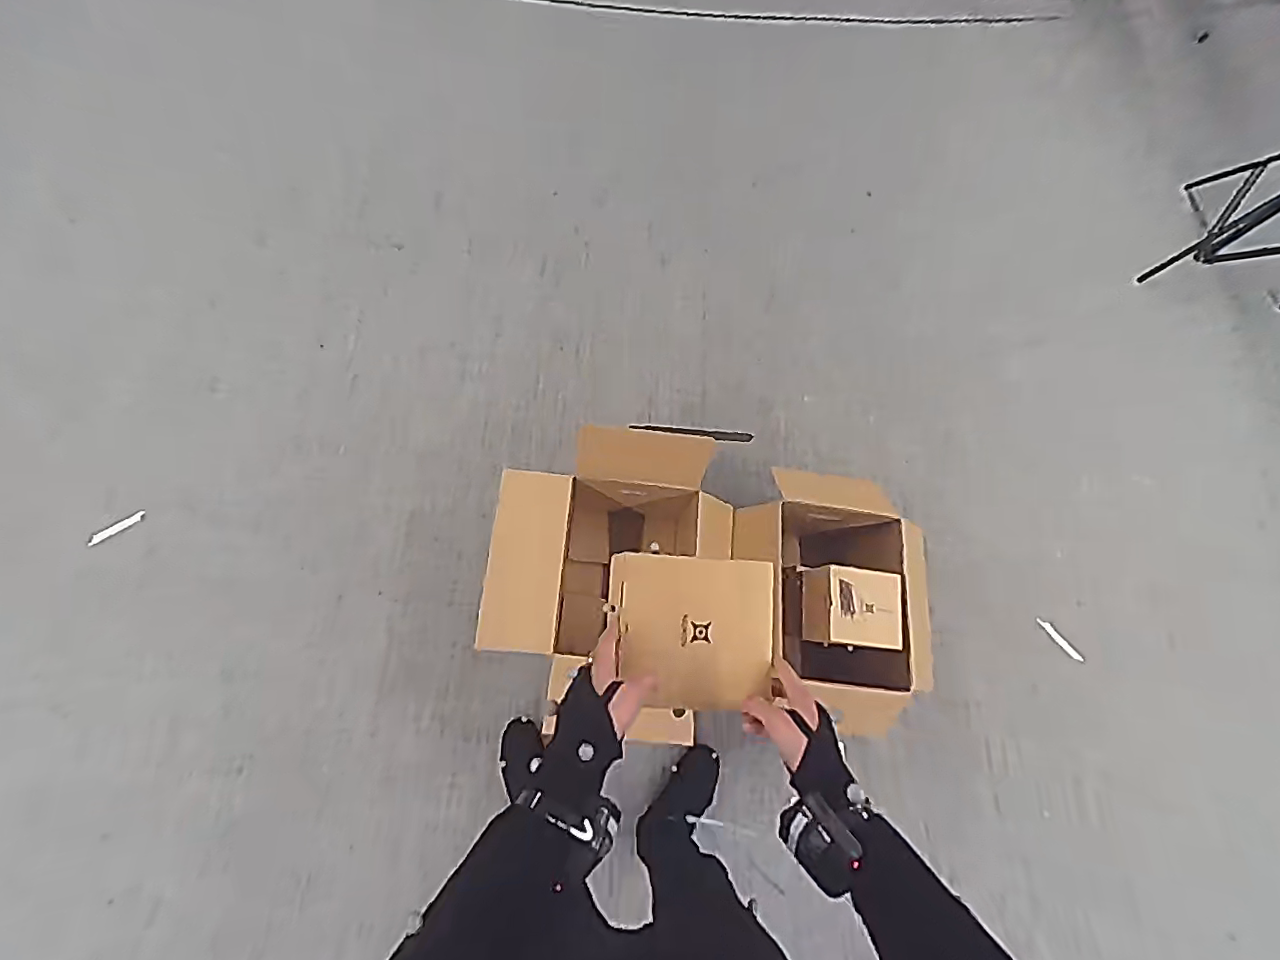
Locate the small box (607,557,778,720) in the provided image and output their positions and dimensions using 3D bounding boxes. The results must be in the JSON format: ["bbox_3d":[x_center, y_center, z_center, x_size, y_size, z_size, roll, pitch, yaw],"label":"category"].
[{"bbox_3d":[0.056,0.183,0.665,0.179,0.176,0.168,4,81,-5],"label":"small box"}]
